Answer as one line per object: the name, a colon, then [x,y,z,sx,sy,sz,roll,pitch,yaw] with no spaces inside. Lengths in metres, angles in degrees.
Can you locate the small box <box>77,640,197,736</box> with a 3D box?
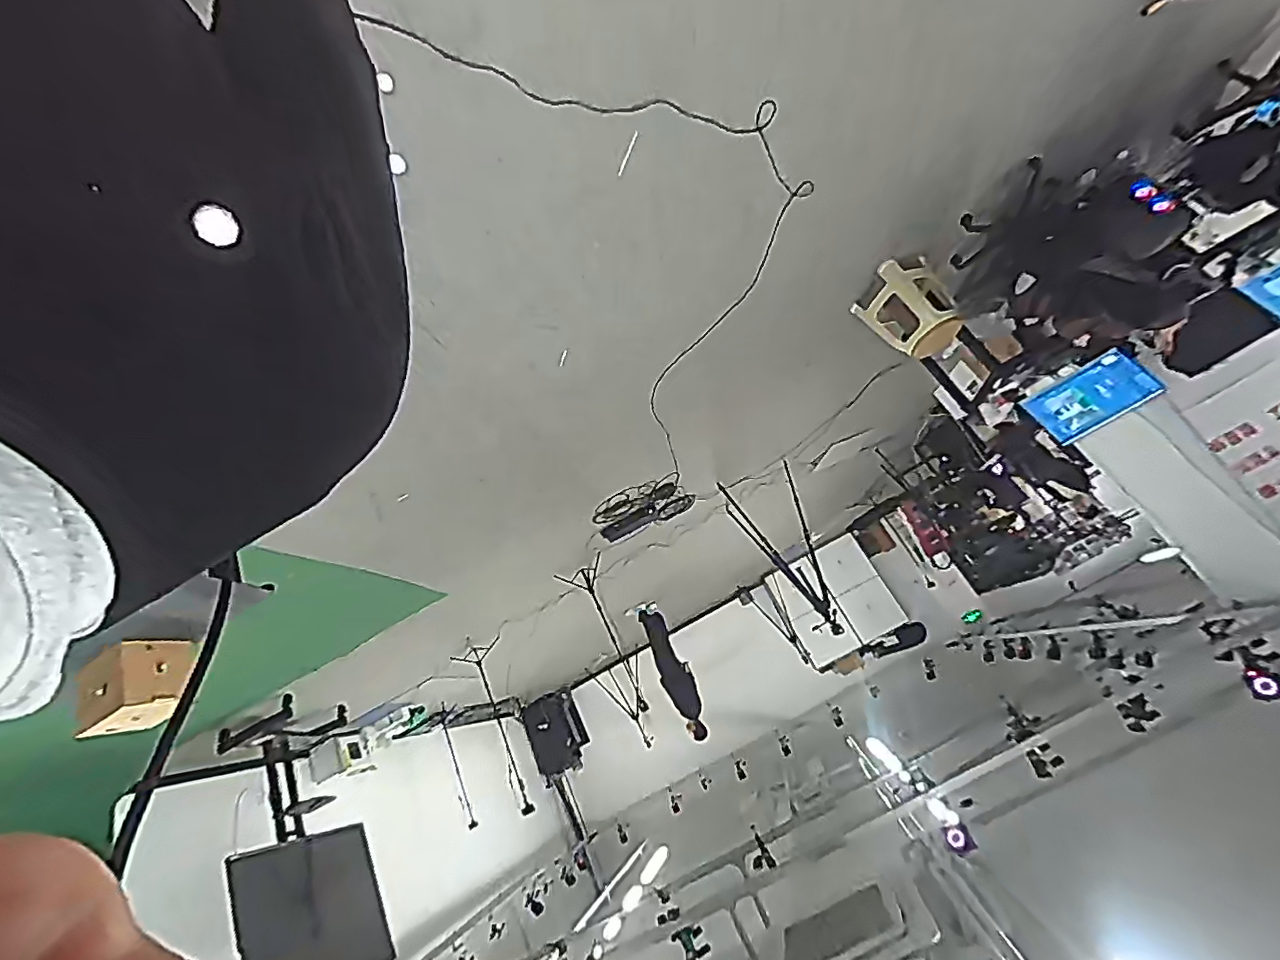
small box: [-1.298,0.525,1.392,0.179,0.176,0.168,-32,156,8]
